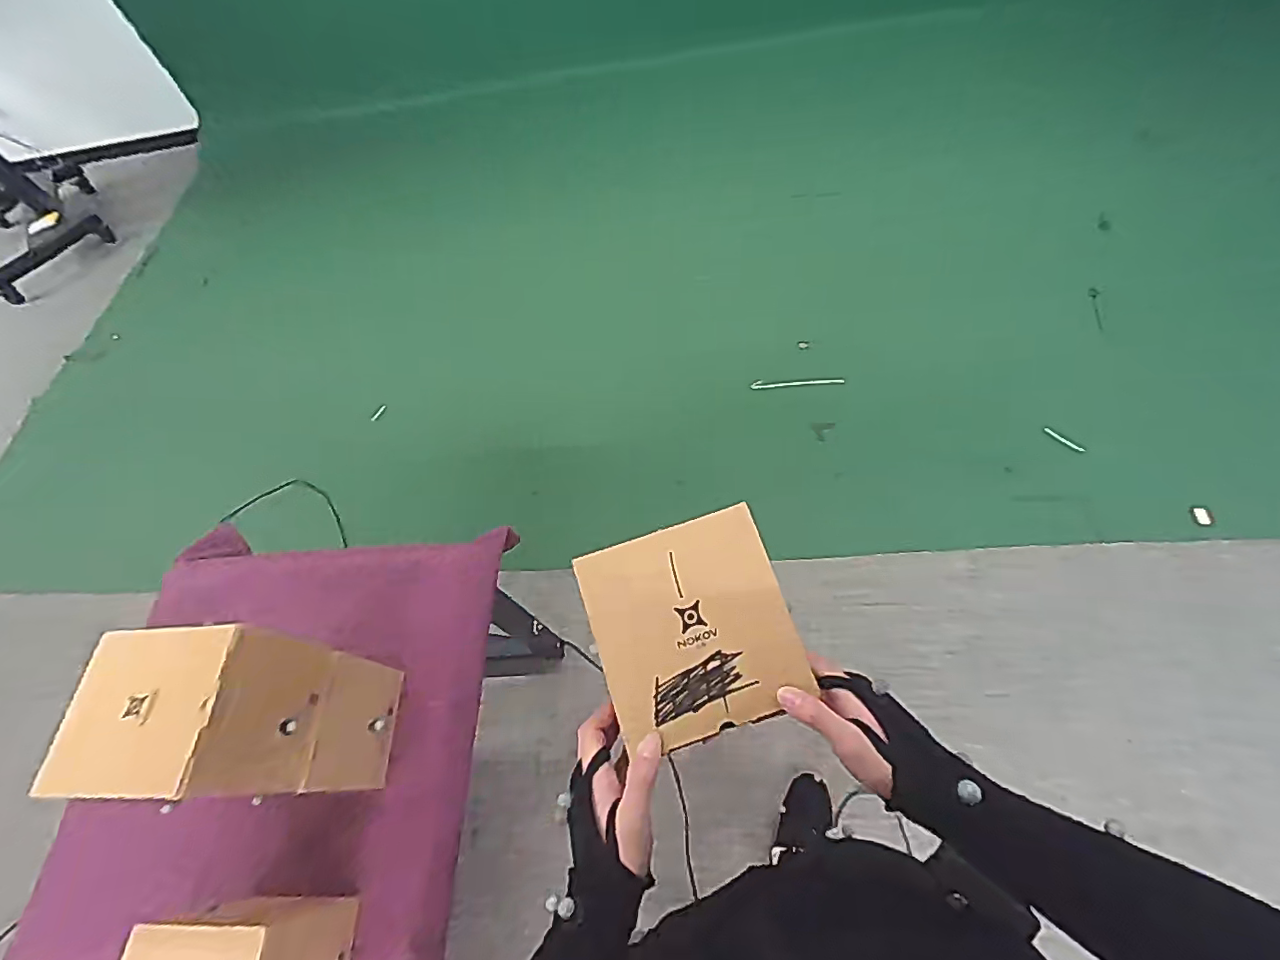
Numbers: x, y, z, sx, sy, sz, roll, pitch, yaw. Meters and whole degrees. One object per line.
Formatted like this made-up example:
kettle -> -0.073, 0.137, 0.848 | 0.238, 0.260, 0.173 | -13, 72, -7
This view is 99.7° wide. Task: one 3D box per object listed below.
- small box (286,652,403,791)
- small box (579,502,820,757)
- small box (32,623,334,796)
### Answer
small box -> -0.477, 0.348, 0.773 | 0.179, 0.176, 0.168 | -5, 61, 8
small box -> 0.050, 0.140, 0.535 | 0.168, 0.176, 0.179 | -17, 76, -4
small box -> -0.506, 0.273, 0.631 | 0.179, 0.176, 0.168 | -5, 60, 7
